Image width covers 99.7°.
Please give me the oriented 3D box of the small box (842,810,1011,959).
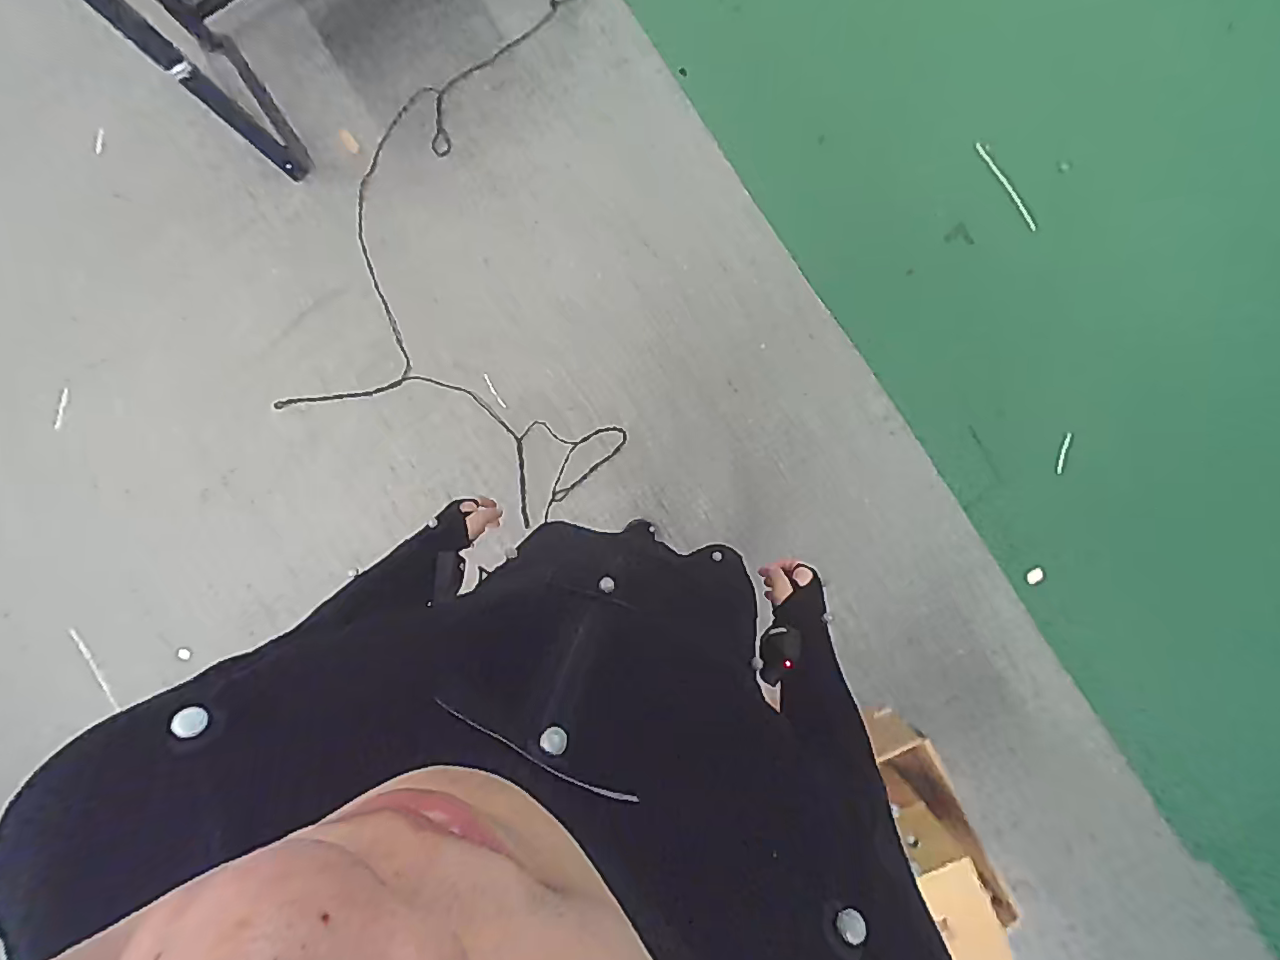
[{"bbox_3d":[0.476,0.709,0.930,0.168,0.176,0.179,-24,87,1],"label":"small box"}]
